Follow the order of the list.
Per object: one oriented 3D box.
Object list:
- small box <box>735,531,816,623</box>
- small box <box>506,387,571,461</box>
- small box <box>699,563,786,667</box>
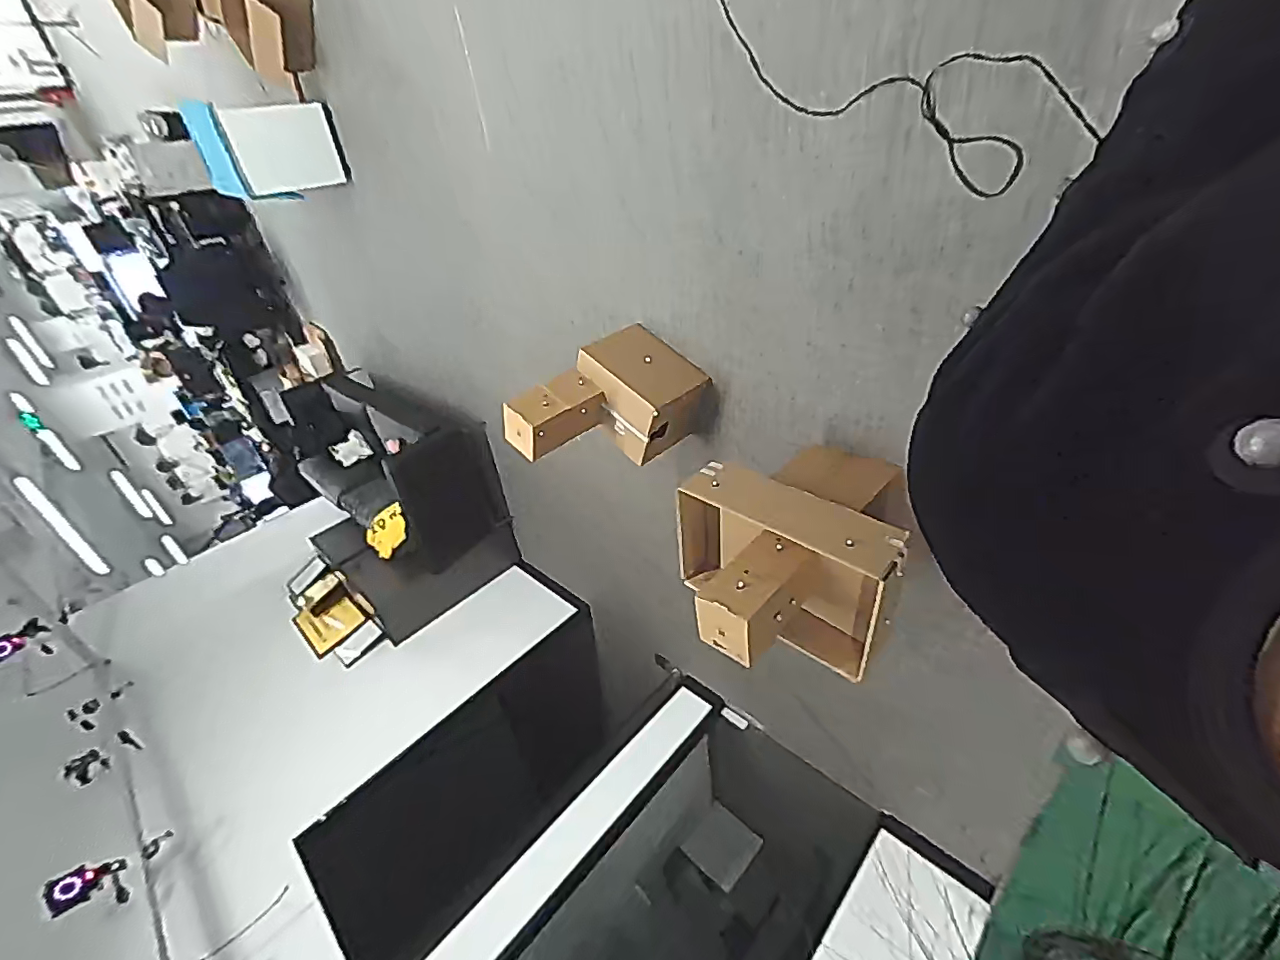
[{"bbox_3d":[0.385,0.277,1.540,0.168,0.176,0.179,23,133,38],"label":"small box"},{"bbox_3d":[-0.369,-0.207,1.971,0.168,0.176,0.179,39,142,24],"label":"small box"},{"bbox_3d":[0.276,0.352,1.444,0.168,0.176,0.179,22,132,40],"label":"small box"}]
